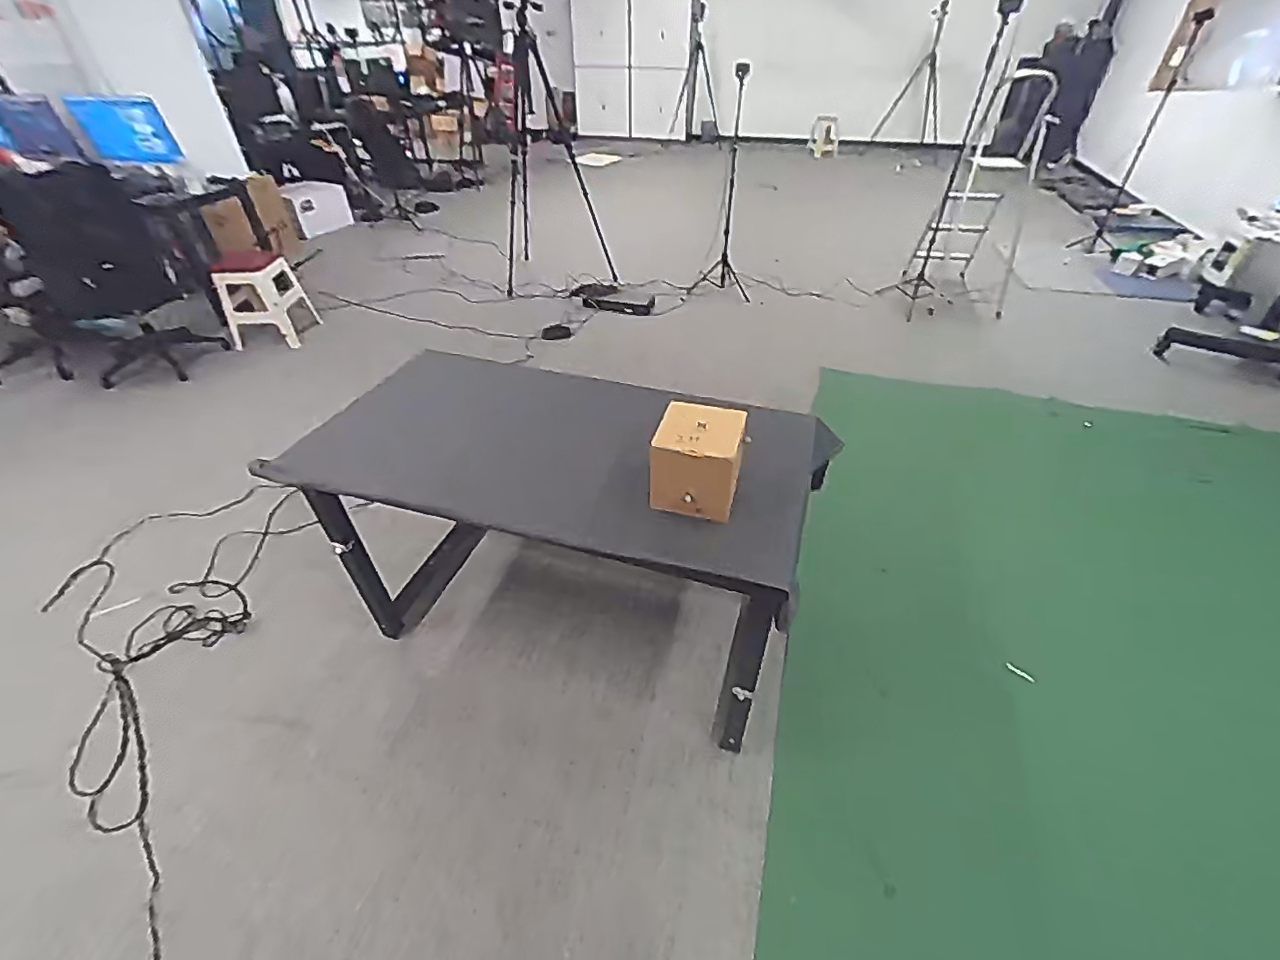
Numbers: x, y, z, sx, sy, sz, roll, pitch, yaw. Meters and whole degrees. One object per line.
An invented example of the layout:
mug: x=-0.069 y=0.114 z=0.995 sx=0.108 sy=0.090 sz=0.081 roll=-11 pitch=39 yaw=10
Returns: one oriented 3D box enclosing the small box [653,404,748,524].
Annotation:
small box: x=0.126 y=-0.036 z=1.144 sx=0.168 sy=0.176 sz=0.179 roll=9 pitch=41 yaw=14
